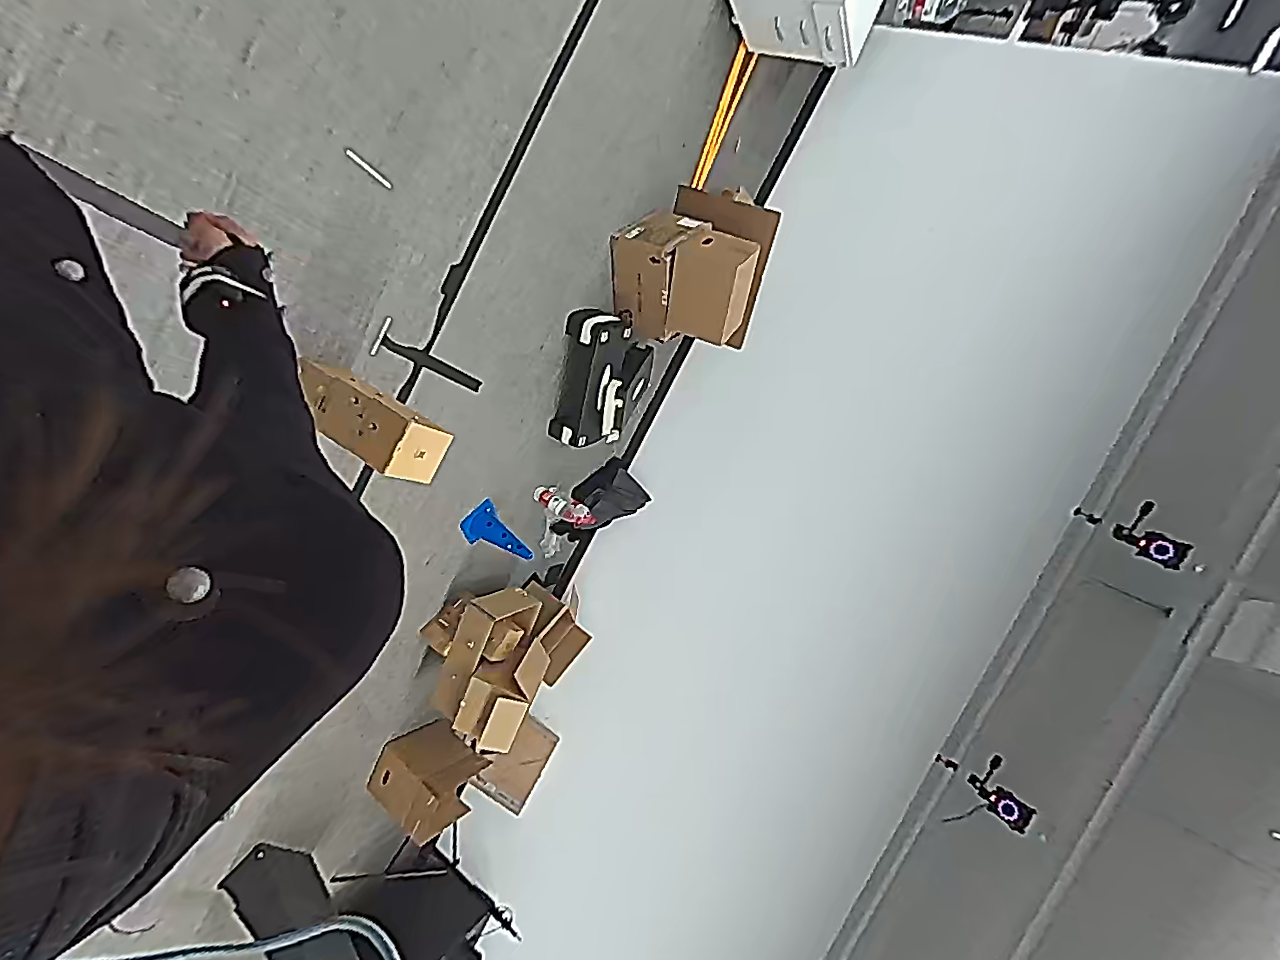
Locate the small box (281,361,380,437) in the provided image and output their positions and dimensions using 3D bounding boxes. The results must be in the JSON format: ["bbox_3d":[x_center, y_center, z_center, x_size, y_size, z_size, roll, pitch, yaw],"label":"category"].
[{"bbox_3d":[-0.957,-0.250,1.675,0.168,0.176,0.179,-63,157,6],"label":"small box"}]

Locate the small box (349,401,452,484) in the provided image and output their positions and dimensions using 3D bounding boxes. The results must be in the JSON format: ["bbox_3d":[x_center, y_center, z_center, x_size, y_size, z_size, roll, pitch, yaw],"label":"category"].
[{"bbox_3d":[-0.687,-0.107,1.555,0.168,0.176,0.179,-61,157,3],"label":"small box"}]
